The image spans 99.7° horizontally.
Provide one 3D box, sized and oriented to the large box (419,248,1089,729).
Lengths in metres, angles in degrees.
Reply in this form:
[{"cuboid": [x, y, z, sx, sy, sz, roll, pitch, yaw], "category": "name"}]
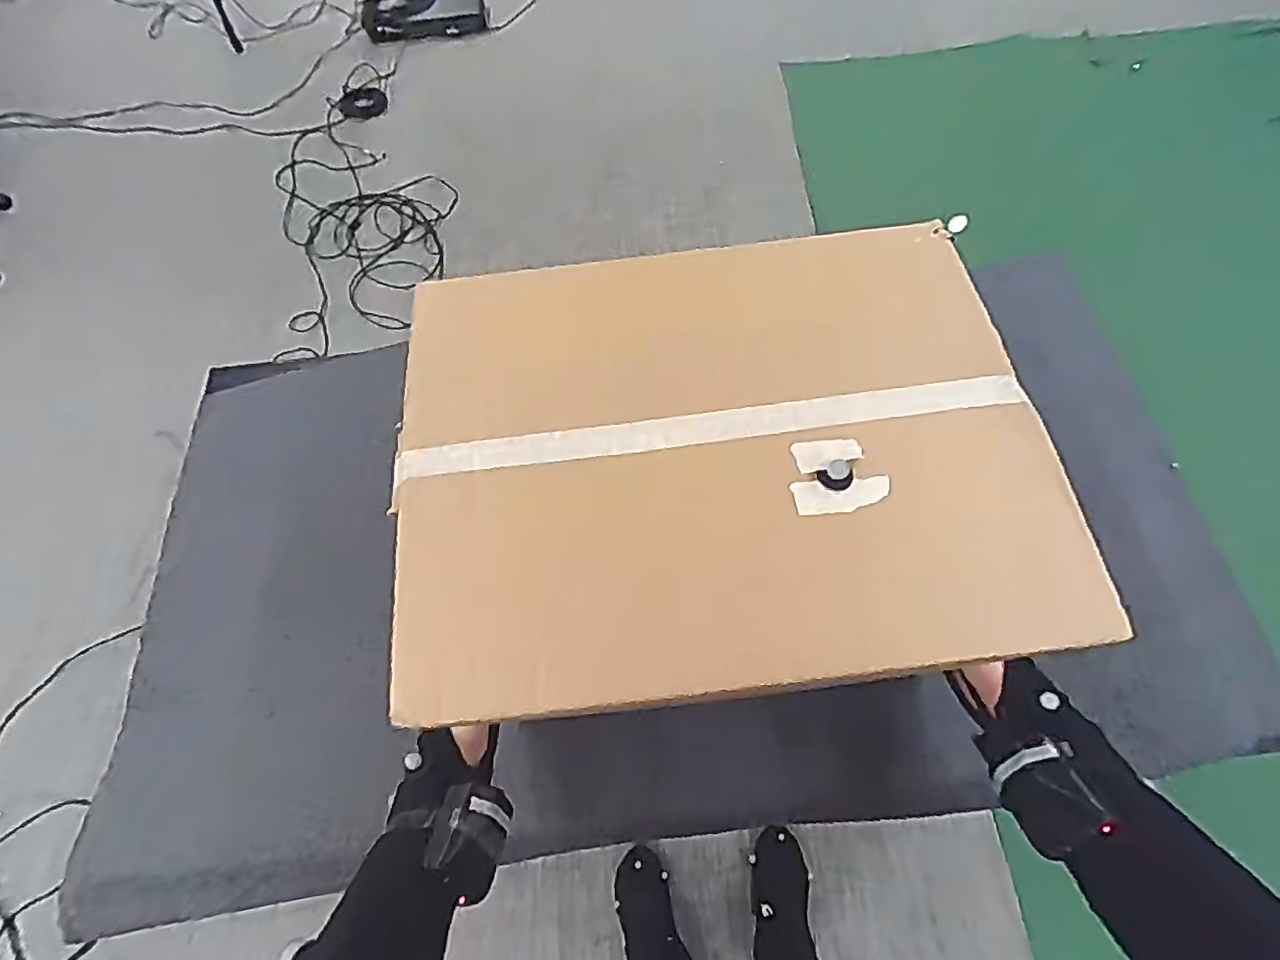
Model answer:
[{"cuboid": [0.054, 0.036, 0.507, 0.408, 0.320, 0.320, -7, 67, -1], "category": "large box"}]
